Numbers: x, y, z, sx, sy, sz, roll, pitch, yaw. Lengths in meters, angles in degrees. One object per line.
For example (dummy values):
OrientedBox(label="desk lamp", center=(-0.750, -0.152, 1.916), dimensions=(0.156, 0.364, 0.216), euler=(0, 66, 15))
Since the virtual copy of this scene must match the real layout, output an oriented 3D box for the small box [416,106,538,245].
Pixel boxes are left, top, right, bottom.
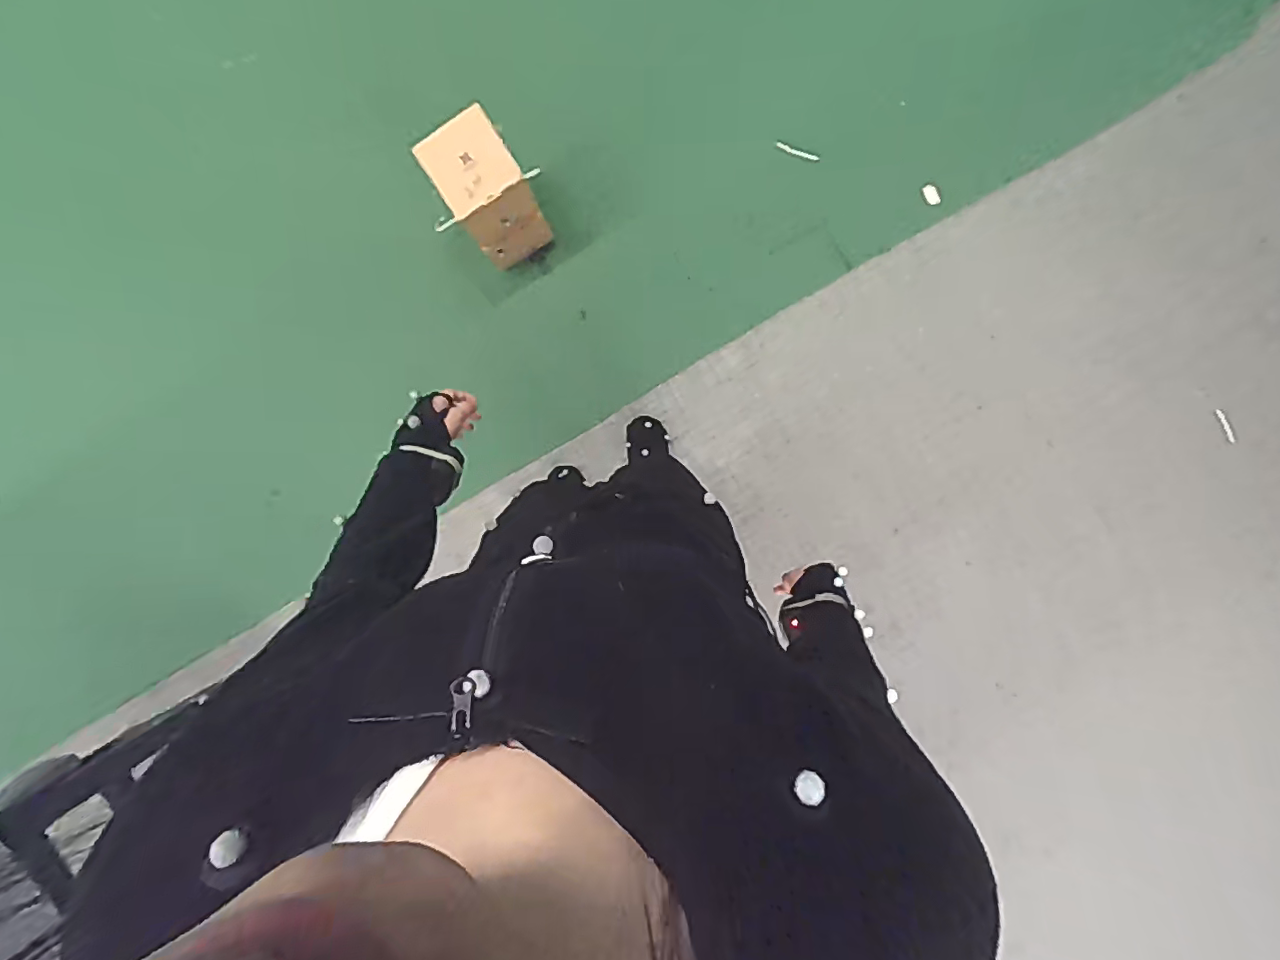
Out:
OrientedBox(label="small box", center=(-0.348, -0.657, 1.190), dimensions=(0.168, 0.176, 0.179), euler=(-32, 94, 4))
